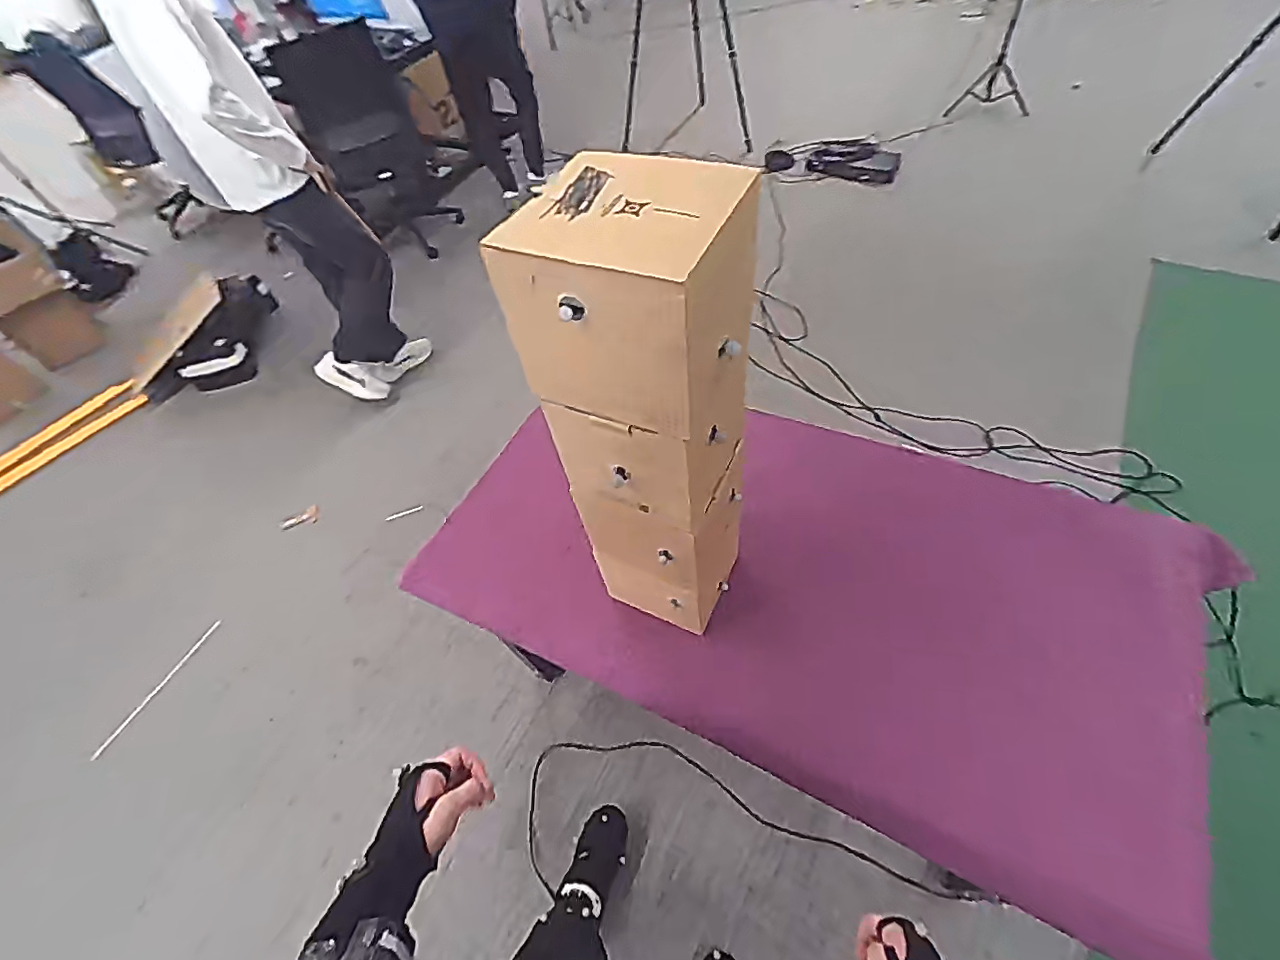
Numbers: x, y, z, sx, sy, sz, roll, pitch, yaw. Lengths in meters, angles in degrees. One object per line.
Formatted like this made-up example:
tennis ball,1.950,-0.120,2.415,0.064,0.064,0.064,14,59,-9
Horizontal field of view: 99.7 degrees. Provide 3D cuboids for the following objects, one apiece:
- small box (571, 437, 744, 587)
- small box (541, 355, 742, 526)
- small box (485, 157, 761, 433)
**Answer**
small box,0.033,0.028,0.758,0.179,0.176,0.168,19,59,21
small box,0.016,-0.073,0.631,0.168,0.176,0.179,18,59,20
small box,-0.004,-0.167,0.498,0.179,0.176,0.168,18,58,20
